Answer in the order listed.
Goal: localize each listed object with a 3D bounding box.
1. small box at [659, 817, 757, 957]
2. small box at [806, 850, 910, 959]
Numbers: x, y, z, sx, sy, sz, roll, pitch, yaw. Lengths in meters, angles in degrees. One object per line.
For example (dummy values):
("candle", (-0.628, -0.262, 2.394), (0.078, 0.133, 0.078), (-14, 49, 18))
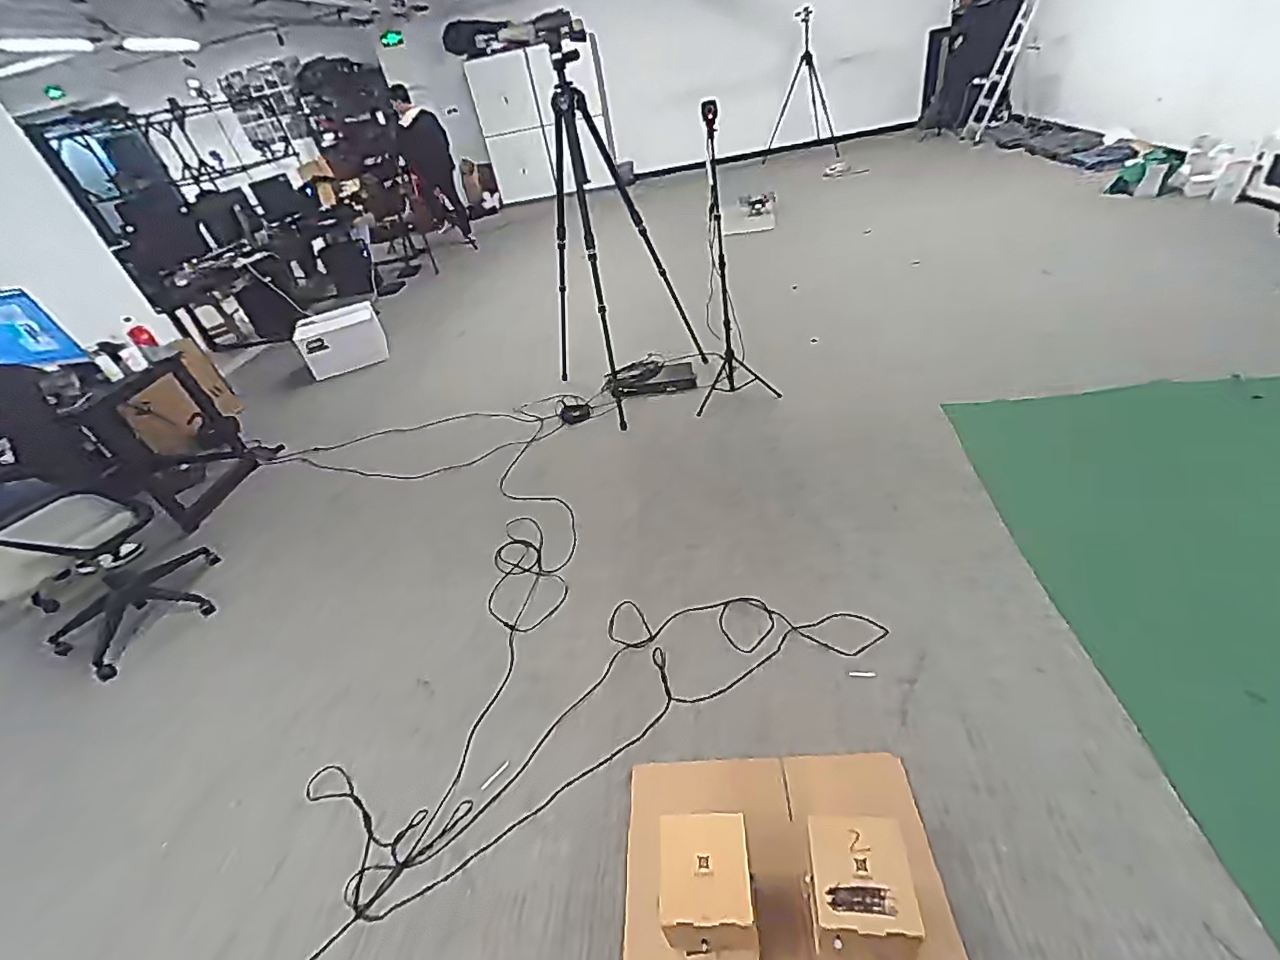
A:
("small box", (0.130, 0.778, 1.037), (0.168, 0.176, 0.179), (-6, 37, 8))
("small box", (0.428, 0.882, 1.090), (0.168, 0.176, 0.179), (-5, 38, 12))
